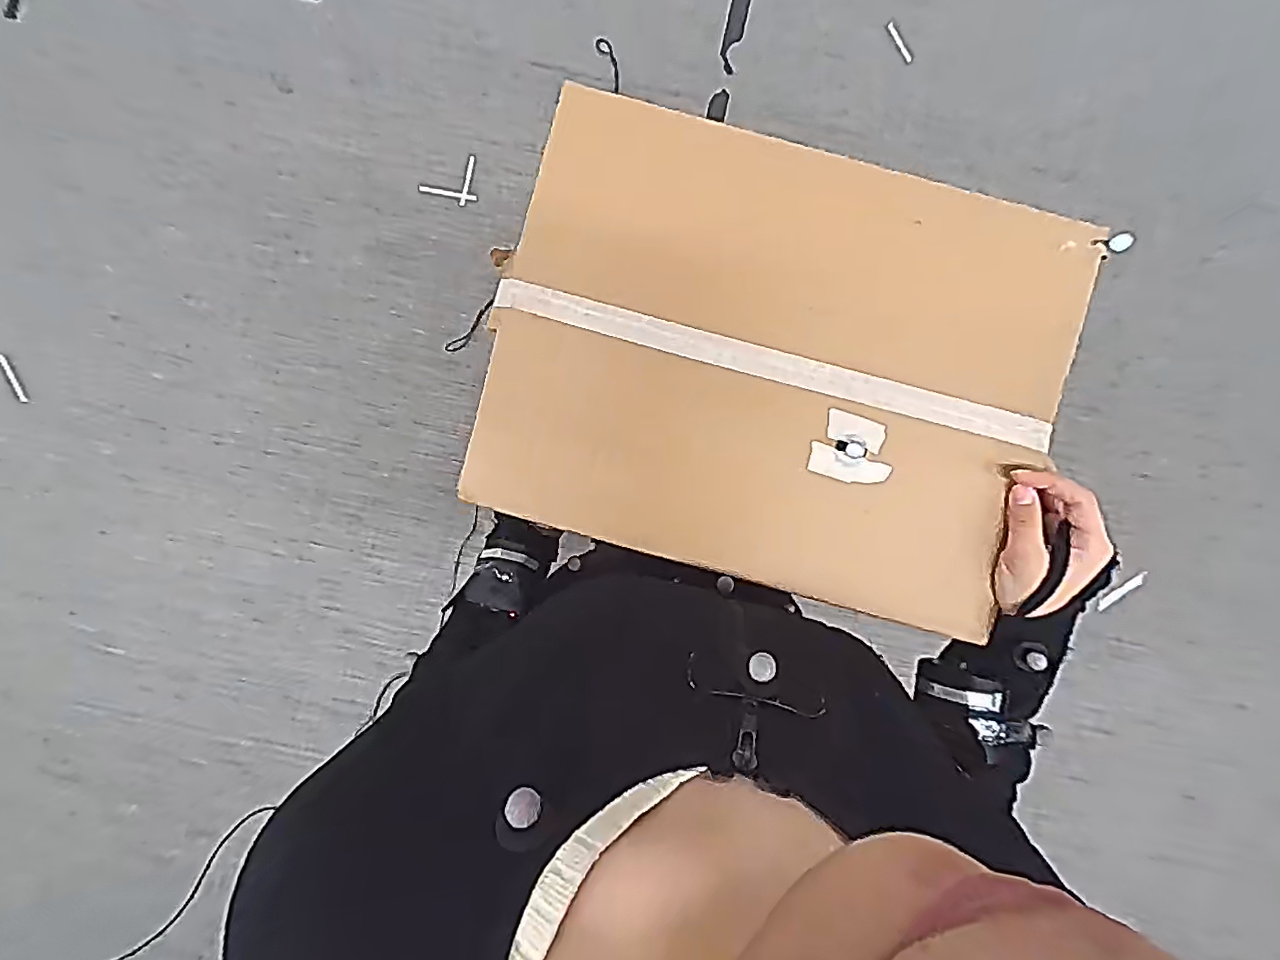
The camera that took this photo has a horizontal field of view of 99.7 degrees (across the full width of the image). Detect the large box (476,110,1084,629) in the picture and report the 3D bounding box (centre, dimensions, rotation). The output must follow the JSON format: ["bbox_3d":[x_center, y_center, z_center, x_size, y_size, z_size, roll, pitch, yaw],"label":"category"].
[{"bbox_3d":[0.101,-0.084,0.551,0.408,0.320,0.320,15,92,-1],"label":"large box"}]
